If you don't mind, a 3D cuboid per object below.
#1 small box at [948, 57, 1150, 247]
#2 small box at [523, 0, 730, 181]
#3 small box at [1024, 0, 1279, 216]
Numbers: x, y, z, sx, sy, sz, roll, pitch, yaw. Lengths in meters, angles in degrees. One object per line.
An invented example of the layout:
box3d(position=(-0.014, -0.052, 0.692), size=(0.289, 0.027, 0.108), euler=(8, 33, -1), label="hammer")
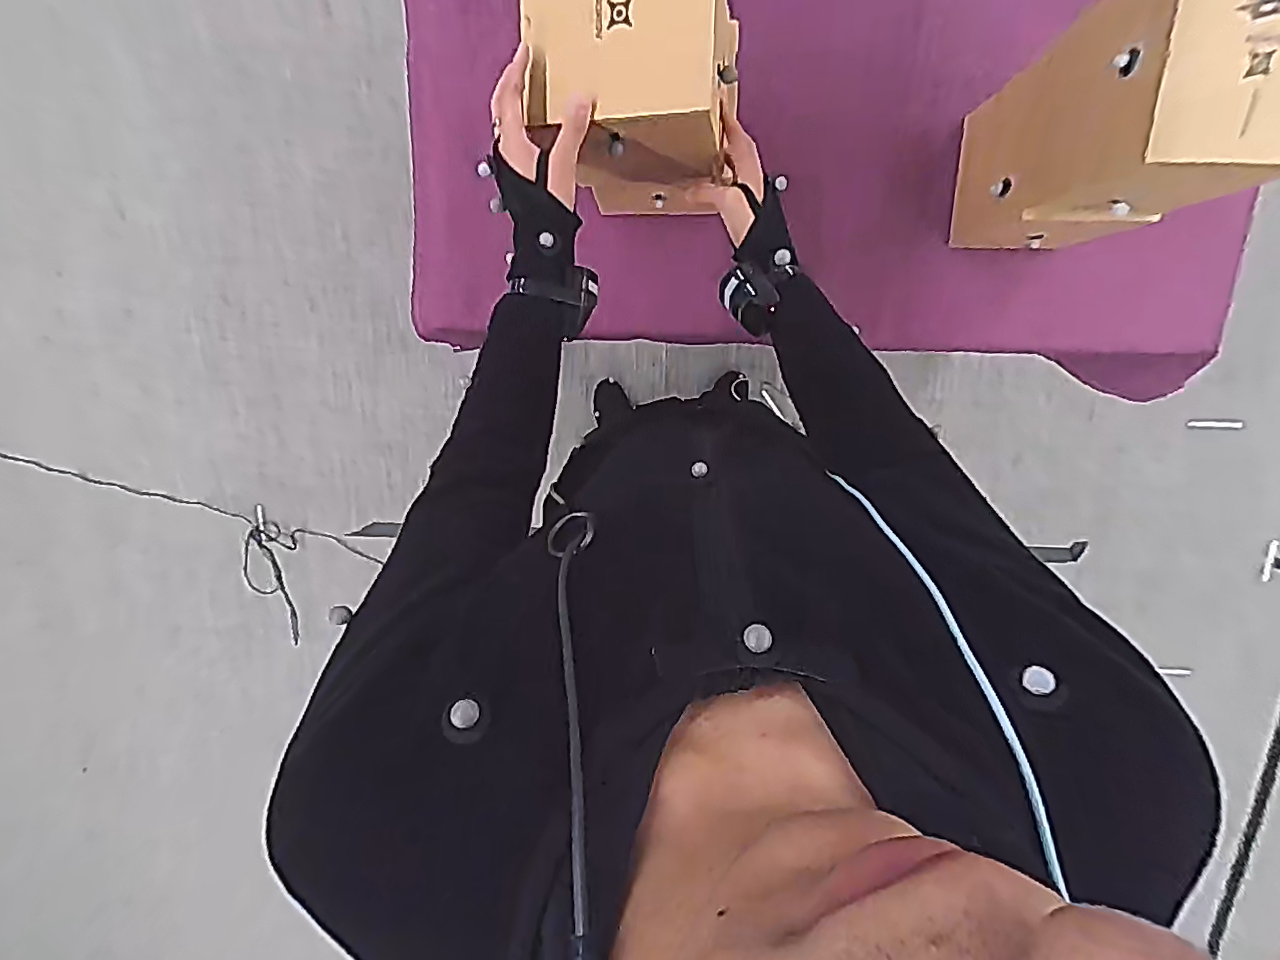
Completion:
box3d(position=(0.538, -0.414, 0.713), size=(0.168, 0.176, 0.179), euler=(2, 103, 0), label="small box")
box3d(position=(-0.003, -0.418, 0.543), size=(0.179, 0.176, 0.168), euler=(3, 103, 13), label="small box")
box3d(position=(0.536, -0.387, 0.551), size=(0.168, 0.176, 0.179), euler=(2, 103, 1), label="small box")
